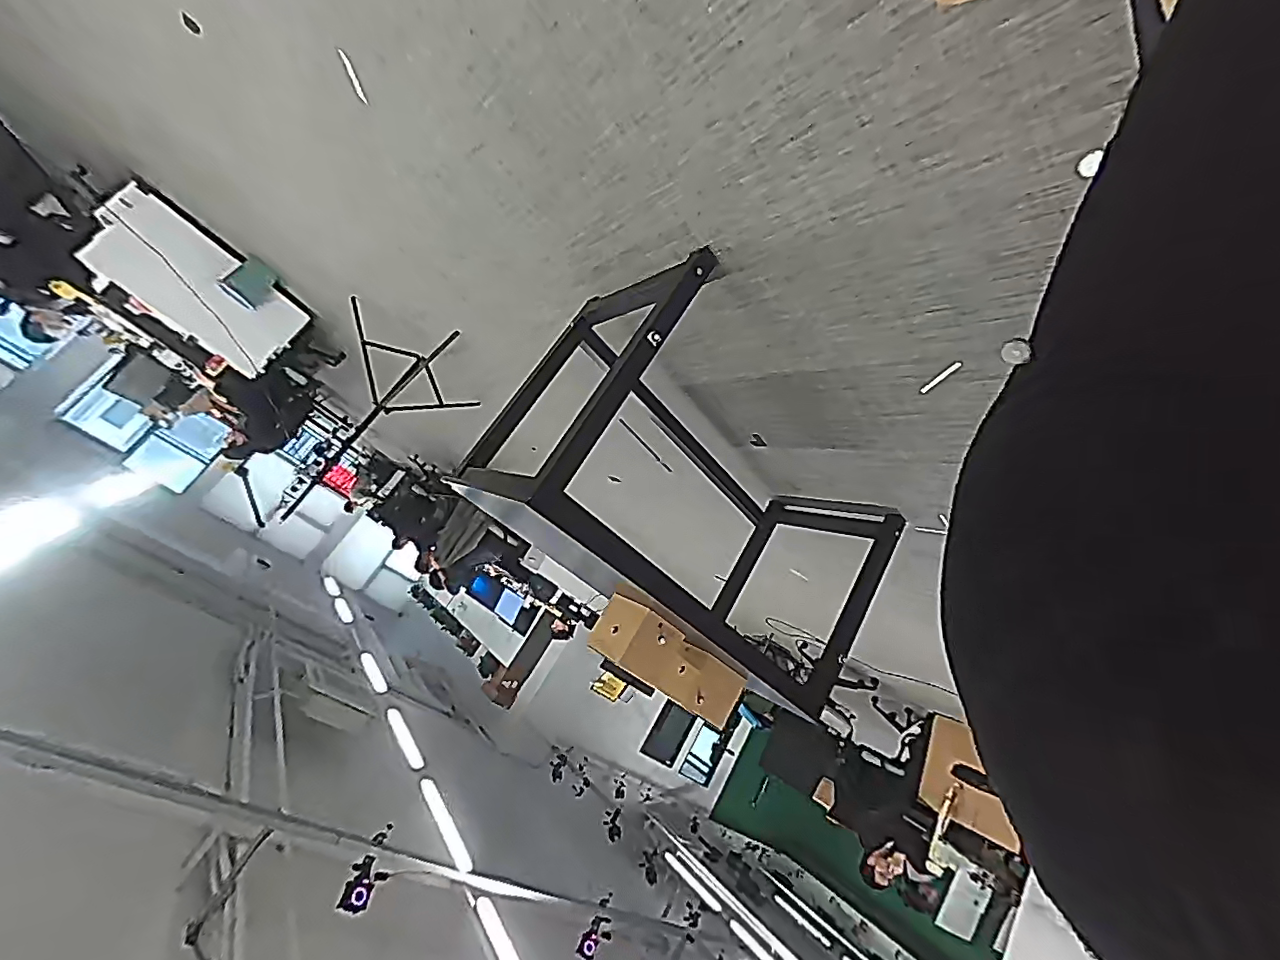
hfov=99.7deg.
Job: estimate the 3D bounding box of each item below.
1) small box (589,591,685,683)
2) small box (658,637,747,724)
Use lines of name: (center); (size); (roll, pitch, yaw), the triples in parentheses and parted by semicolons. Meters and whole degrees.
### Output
small box: (-0.005, 0.435, 1.523); (0.168, 0.176, 0.179); (42, 160, -31)
small box: (0.192, 0.605, 1.651); (0.179, 0.176, 0.168); (39, 163, -23)
